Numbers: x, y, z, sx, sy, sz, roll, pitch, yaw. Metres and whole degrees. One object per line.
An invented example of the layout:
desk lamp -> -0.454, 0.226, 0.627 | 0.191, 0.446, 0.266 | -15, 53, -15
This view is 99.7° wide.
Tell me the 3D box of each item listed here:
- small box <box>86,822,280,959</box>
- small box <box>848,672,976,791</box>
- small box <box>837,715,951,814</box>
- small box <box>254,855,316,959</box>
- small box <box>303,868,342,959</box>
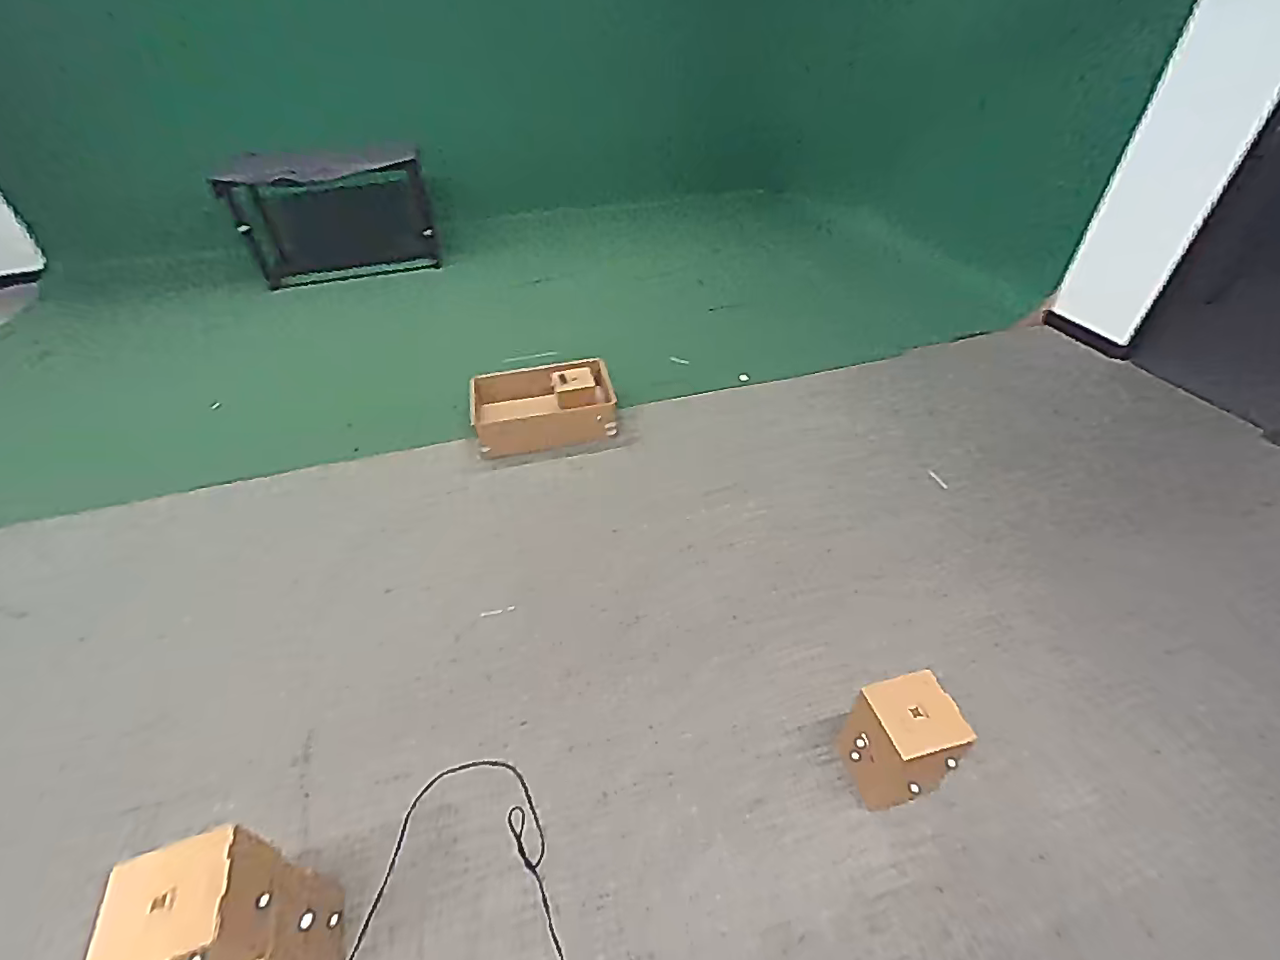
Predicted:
small box -> -0.730, 0.703, 0.881 | 0.179, 0.176, 0.168 | -15, 43, -14
small box -> 0.597, 0.565, 1.212 | 0.179, 0.176, 0.168 | -12, 41, -9
small box -> 0.610, 0.680, 1.327 | 0.168, 0.176, 0.179 | -11, 42, -9
small box -> -0.726, 0.829, 0.984 | 0.179, 0.176, 0.168 | -14, 43, -14
small box -> -0.730, 0.941, 1.105 | 0.179, 0.176, 0.168 | -18, 43, -15
